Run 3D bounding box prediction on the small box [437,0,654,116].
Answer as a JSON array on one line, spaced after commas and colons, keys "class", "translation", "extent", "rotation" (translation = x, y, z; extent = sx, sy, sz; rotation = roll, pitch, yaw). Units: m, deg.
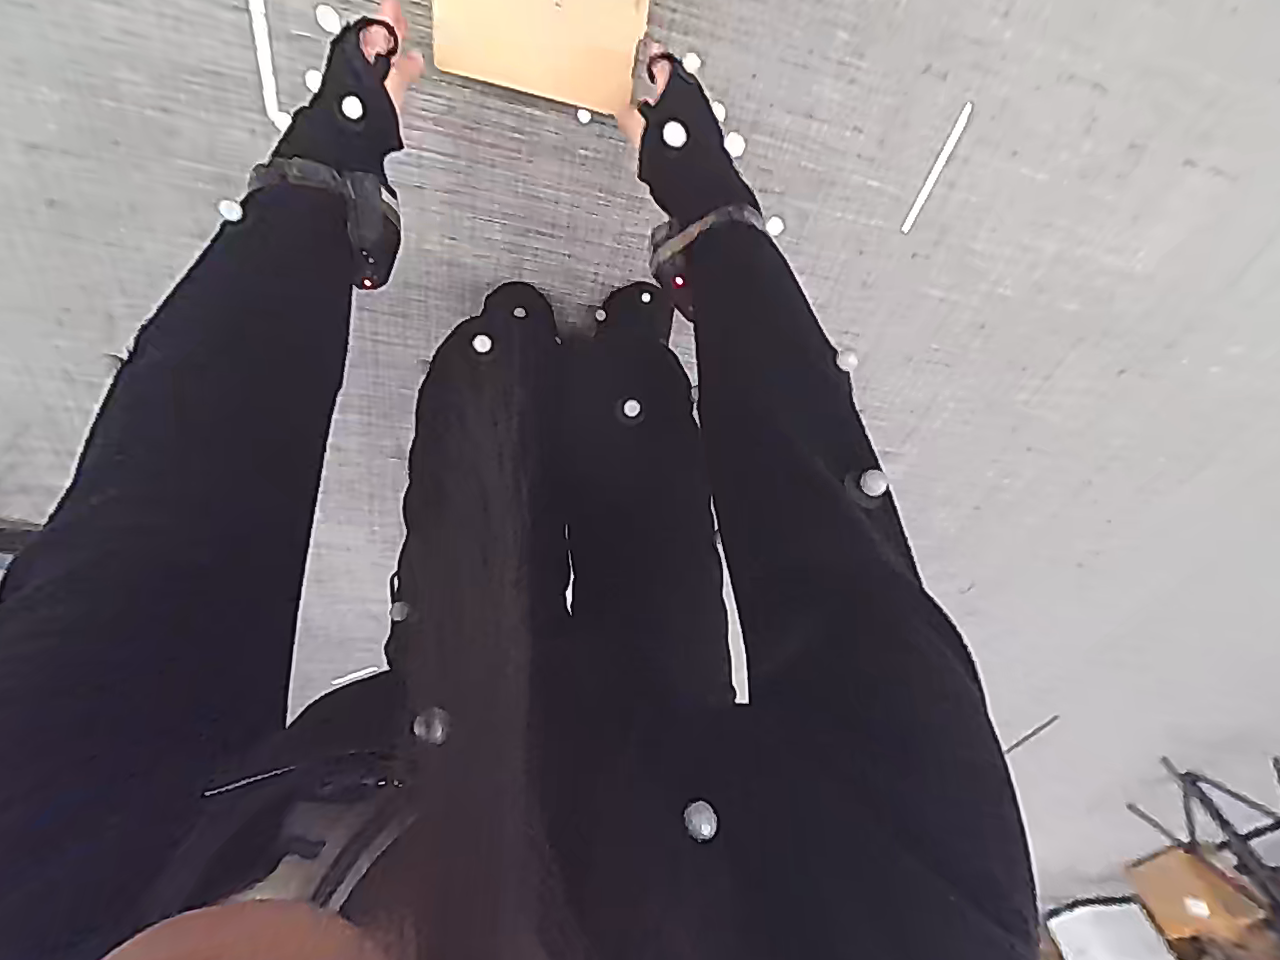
[{"class": "small box", "translation": [-0.080, -0.461, 0.498], "extent": [0.179, 0.176, 0.168], "rotation": [6, 129, -13]}]
